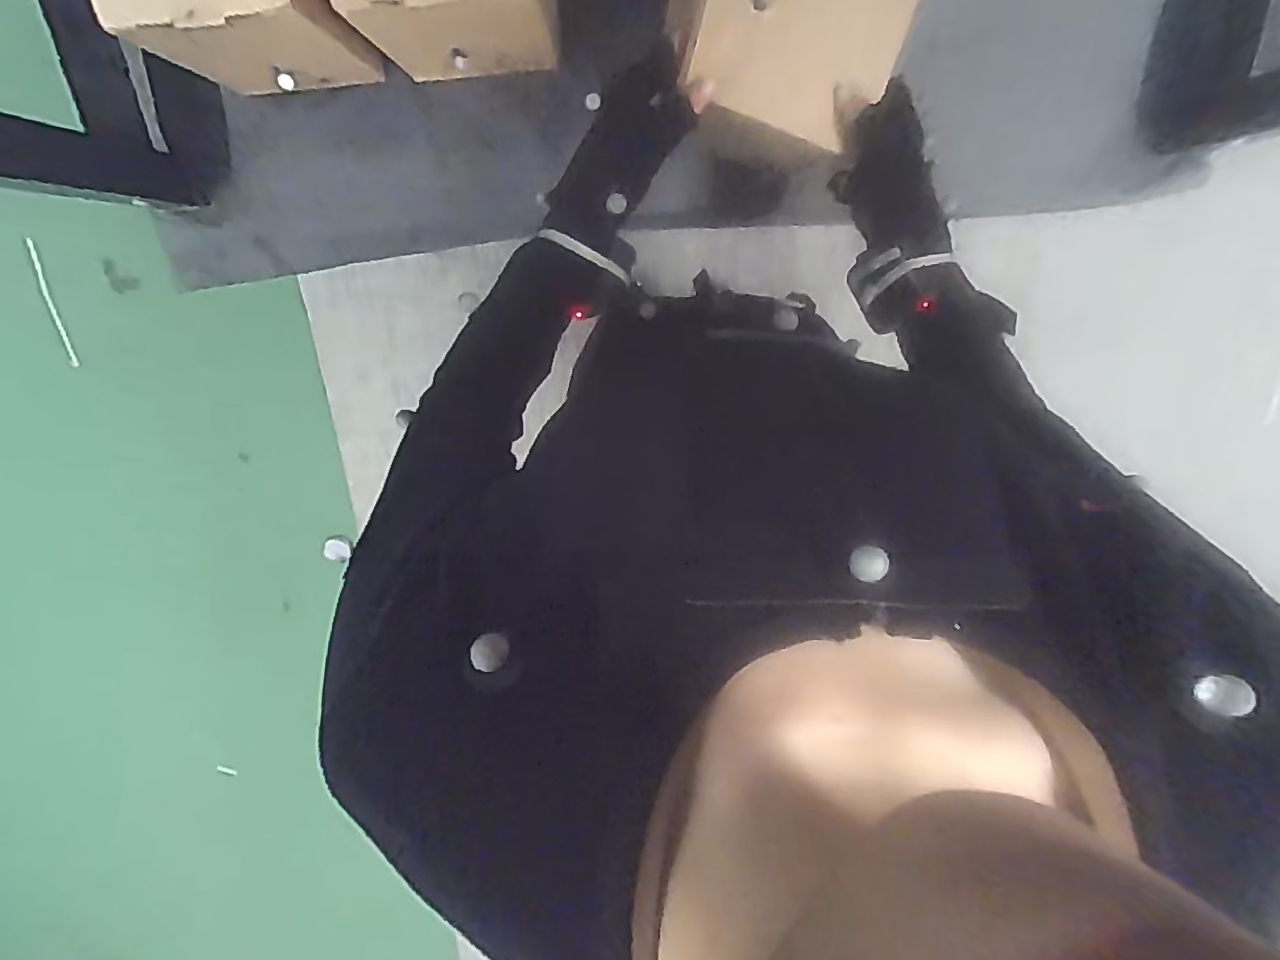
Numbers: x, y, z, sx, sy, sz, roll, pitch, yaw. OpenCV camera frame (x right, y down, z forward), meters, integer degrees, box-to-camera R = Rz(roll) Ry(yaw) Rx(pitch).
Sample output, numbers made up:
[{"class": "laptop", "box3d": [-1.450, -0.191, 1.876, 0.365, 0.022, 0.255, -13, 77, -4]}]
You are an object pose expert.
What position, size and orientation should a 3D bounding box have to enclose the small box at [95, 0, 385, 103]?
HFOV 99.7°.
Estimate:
[{"class": "small box", "box3d": [-0.363, -0.479, 0.493, 0.168, 0.176, 0.179, -3, 109, 3]}]
